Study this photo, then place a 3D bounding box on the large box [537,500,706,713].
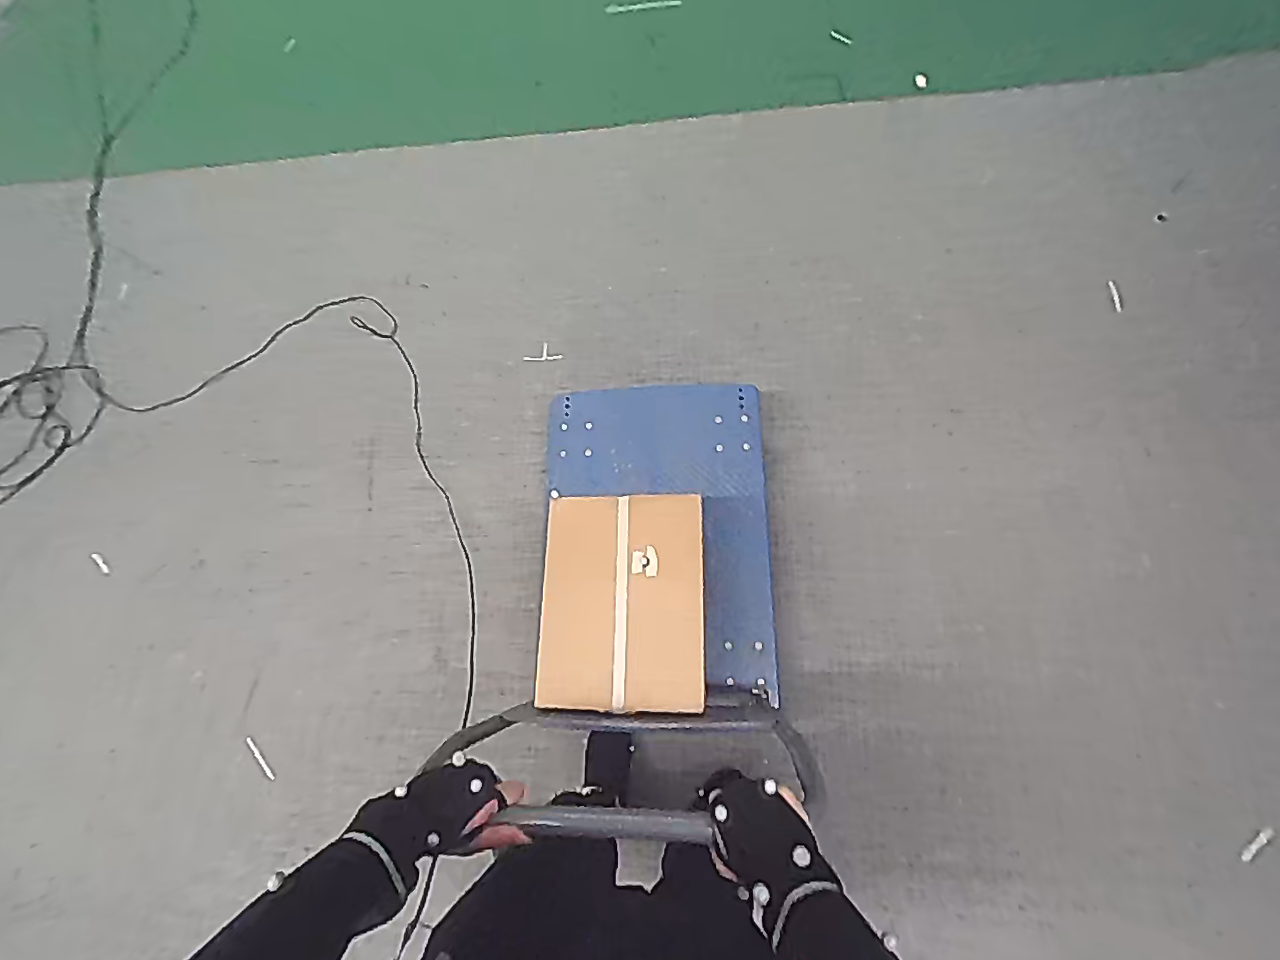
[{"bbox_3d":[-0.019,0.283,1.180,0.320,0.320,0.408,-1,70,6],"label":"large box"}]
